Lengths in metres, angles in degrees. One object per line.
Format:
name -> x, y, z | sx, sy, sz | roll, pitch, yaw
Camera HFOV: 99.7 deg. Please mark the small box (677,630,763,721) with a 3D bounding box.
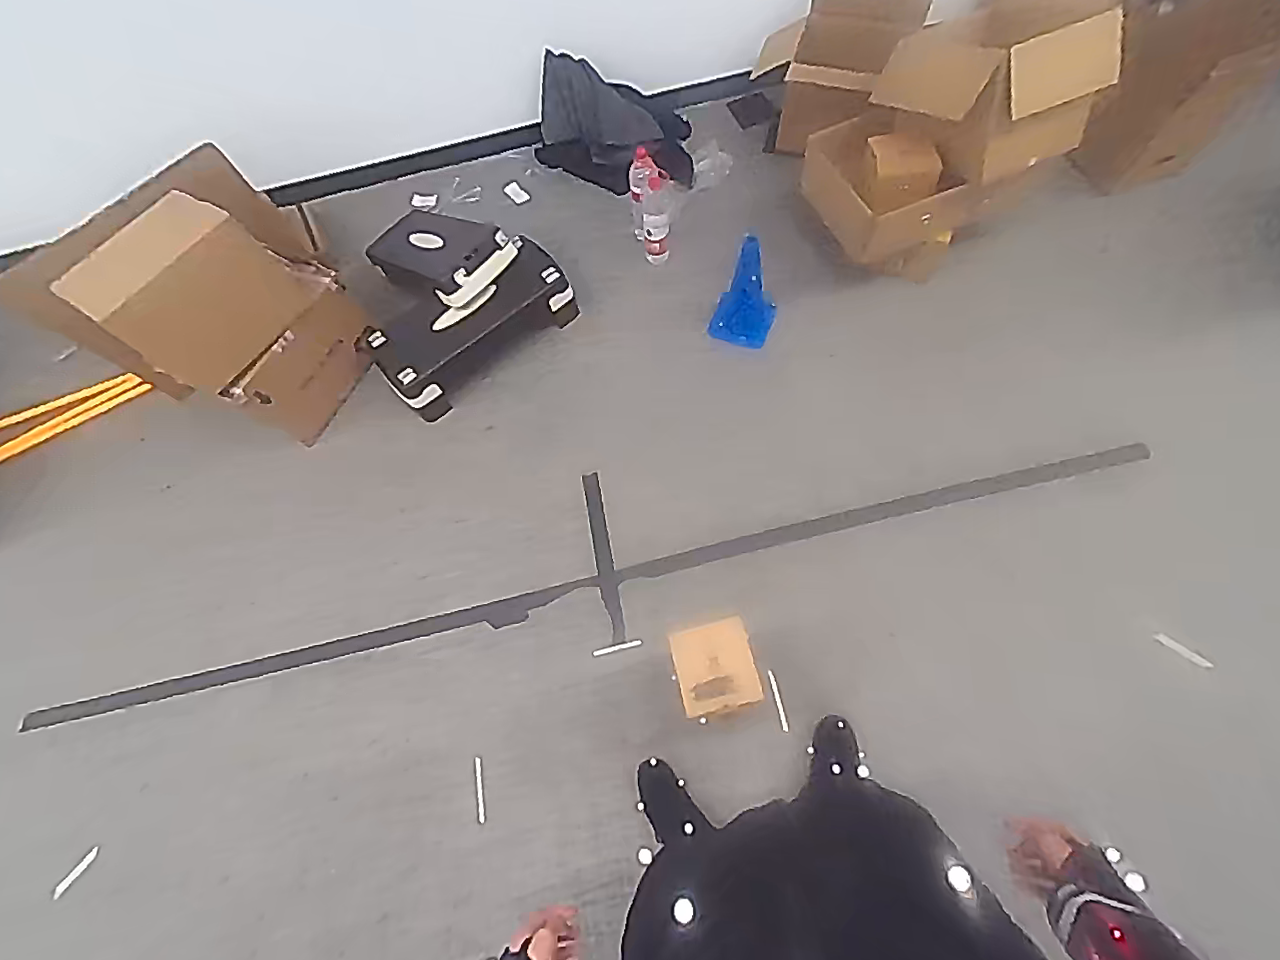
small box -> 0.194, 0.495, 1.362 | 0.168, 0.176, 0.179 | -16, 68, 0
